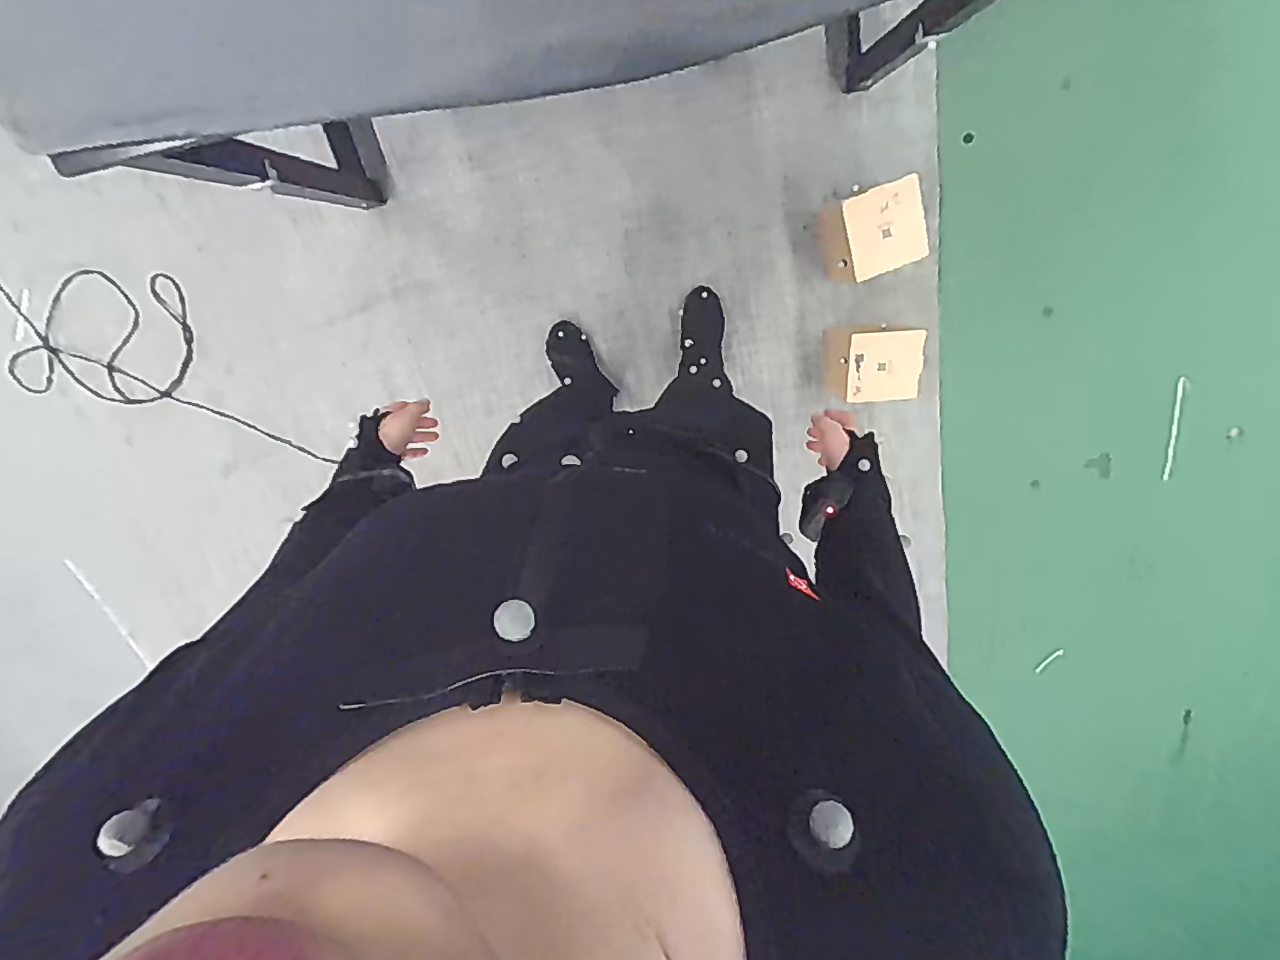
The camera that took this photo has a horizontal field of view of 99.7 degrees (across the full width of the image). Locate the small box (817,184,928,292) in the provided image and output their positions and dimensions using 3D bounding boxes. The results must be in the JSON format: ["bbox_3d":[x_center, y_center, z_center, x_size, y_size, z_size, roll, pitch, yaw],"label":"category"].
[{"bbox_3d":[0.525,-0.547,1.235,0.168,0.176,0.179,-19,111,5],"label":"small box"}]

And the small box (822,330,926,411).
[{"bbox_3d":[0.574,-0.276,1.345,0.179,0.176,0.168,-3,113,0],"label":"small box"}]
